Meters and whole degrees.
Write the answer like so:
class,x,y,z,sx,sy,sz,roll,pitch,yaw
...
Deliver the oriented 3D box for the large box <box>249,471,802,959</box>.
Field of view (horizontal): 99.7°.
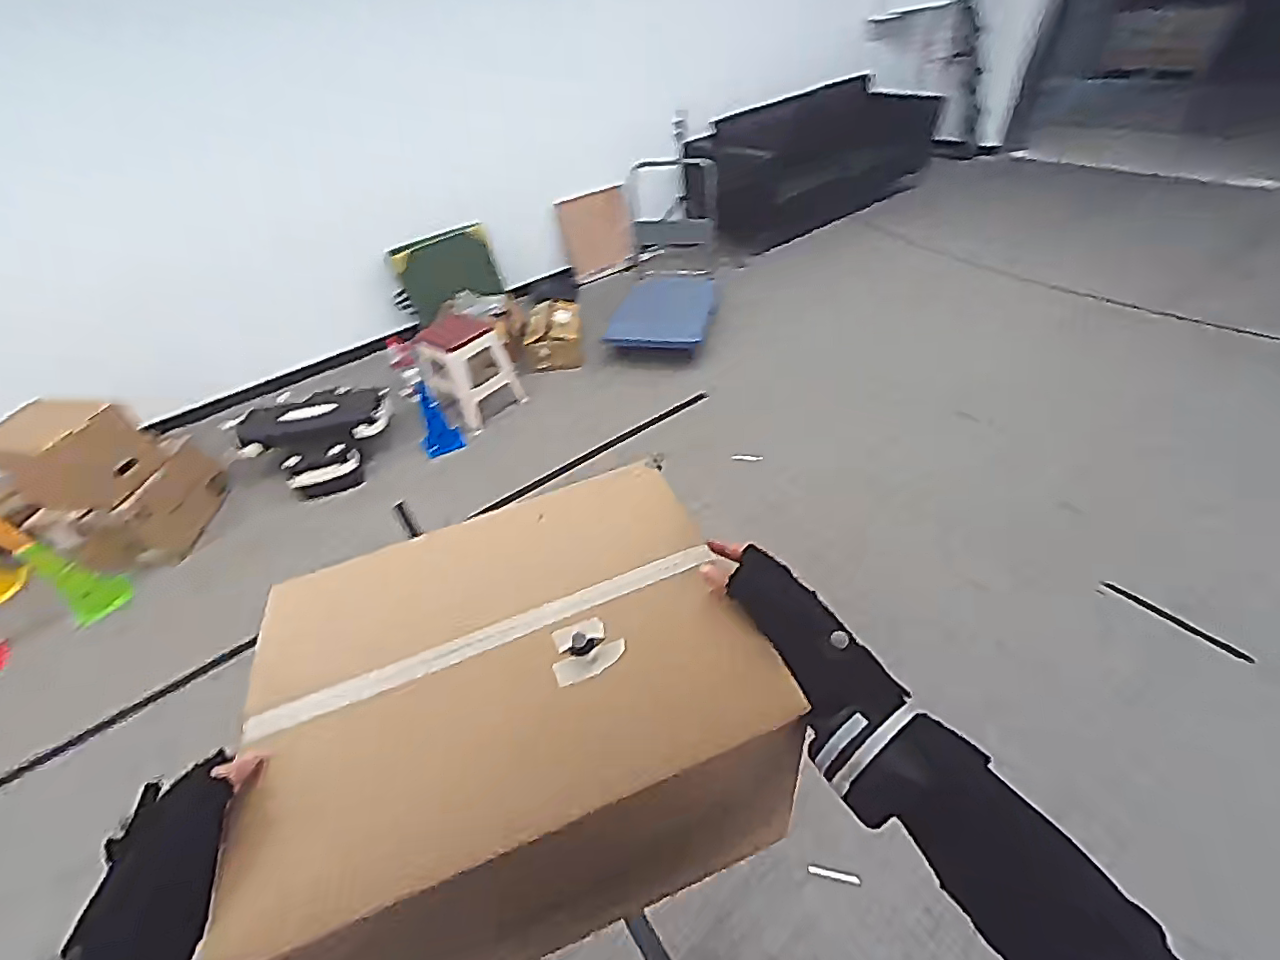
class,x,y,z,sx,sy,sz,roll,pitch,yaw
large box,-0.093,0.251,0.575,0.408,0.320,0.320,-18,43,-10
